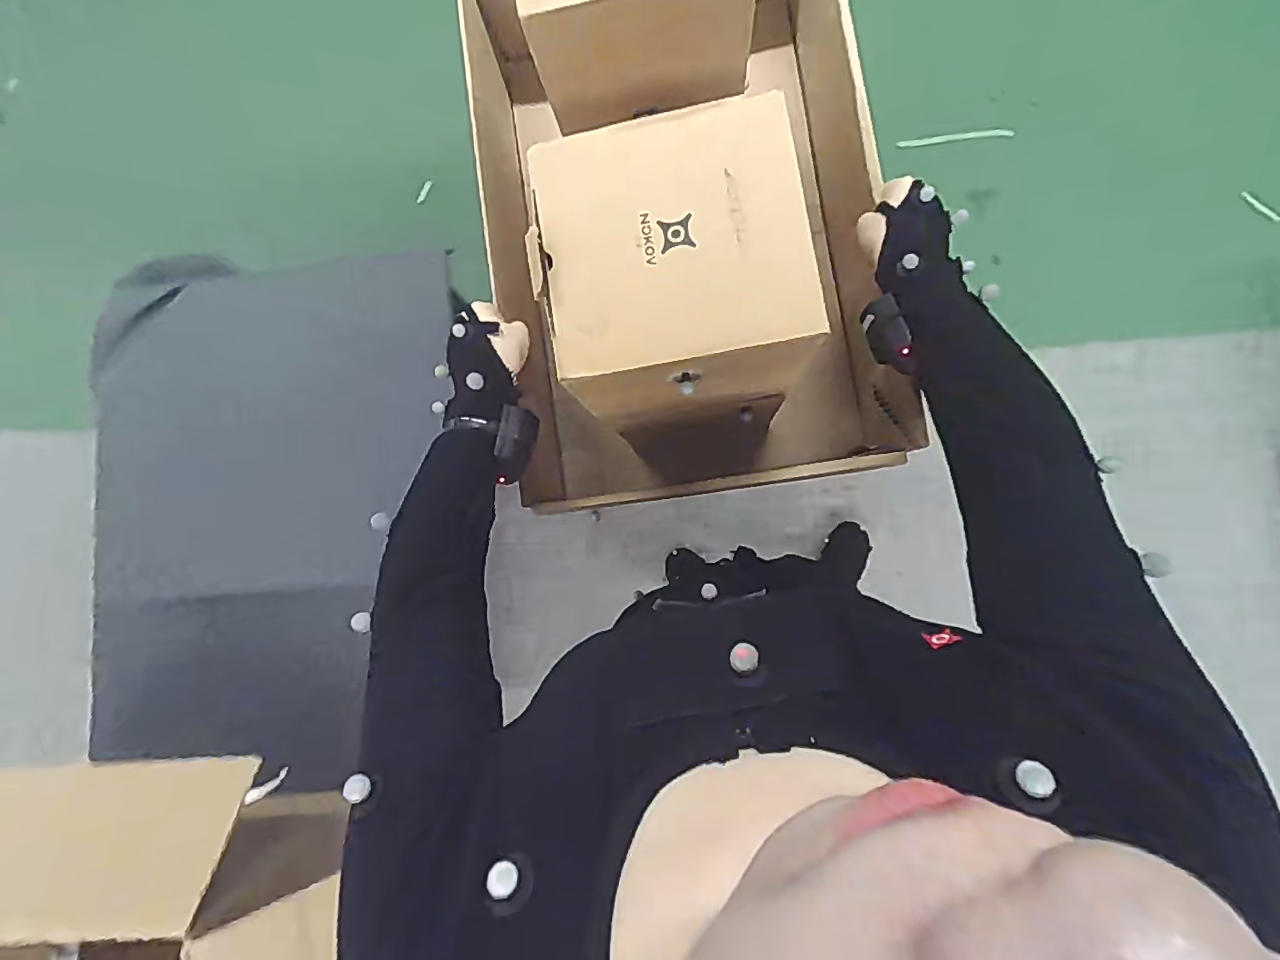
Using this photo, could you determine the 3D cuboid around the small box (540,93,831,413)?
[{"bbox_3d":[0.035,-0.157,0.437,0.179,0.176,0.168,-9,87,5],"label":"small box"}]
